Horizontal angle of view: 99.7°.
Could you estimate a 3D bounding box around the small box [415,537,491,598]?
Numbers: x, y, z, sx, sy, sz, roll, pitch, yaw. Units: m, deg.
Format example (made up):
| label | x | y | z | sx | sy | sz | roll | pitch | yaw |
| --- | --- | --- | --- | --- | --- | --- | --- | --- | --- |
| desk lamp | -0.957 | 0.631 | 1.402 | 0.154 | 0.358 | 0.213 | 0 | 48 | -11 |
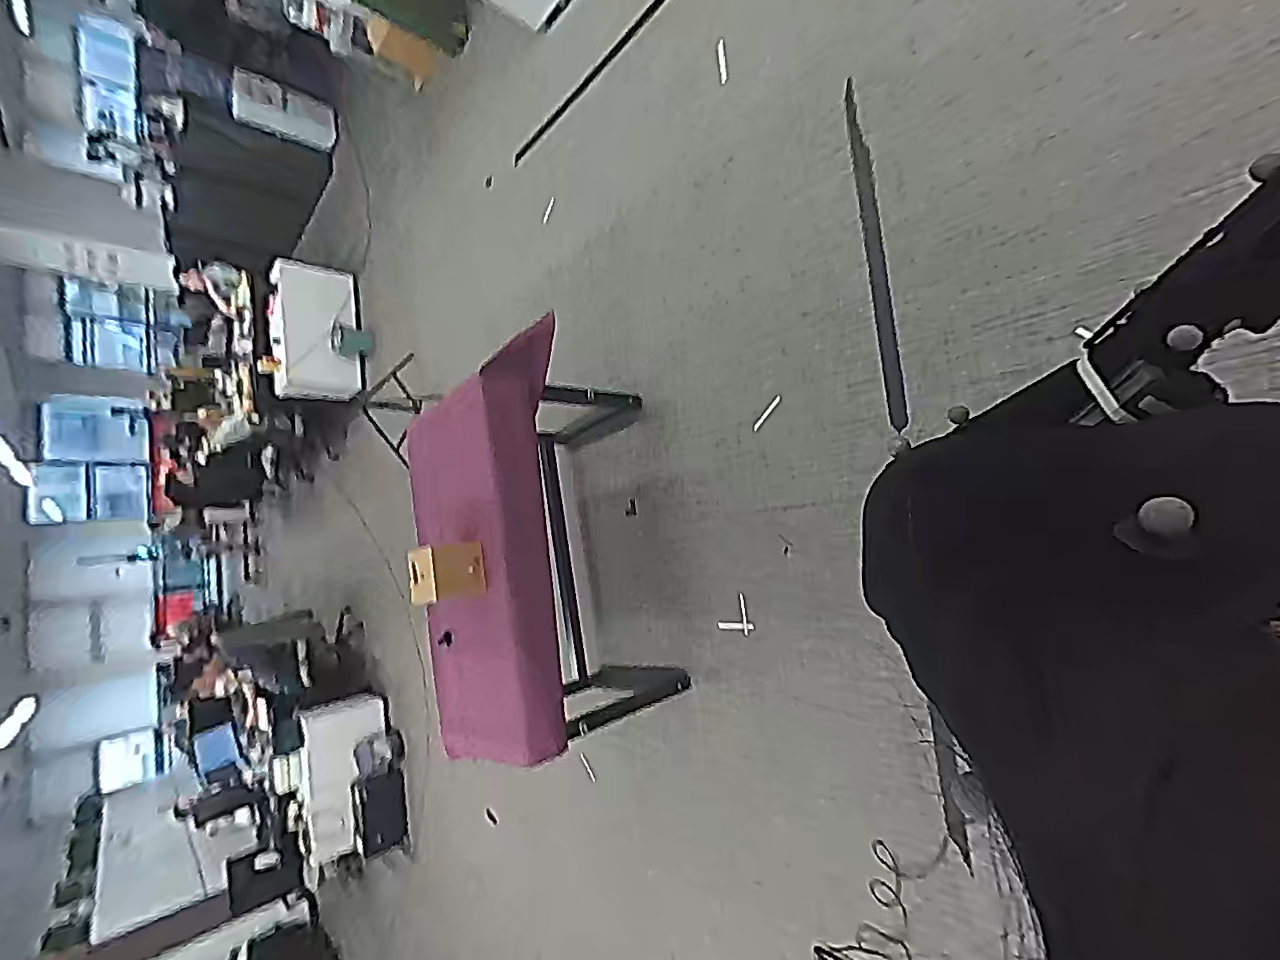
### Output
| label | x | y | z | sx | sy | sz | roll | pitch | yaw |
| --- | --- | --- | --- | --- | --- | --- | --- | --- | --- |
| small box | -0.597 | 0.280 | 1.727 | 0.179 | 0.176 | 0.168 | -17 | 79 | 45 |
